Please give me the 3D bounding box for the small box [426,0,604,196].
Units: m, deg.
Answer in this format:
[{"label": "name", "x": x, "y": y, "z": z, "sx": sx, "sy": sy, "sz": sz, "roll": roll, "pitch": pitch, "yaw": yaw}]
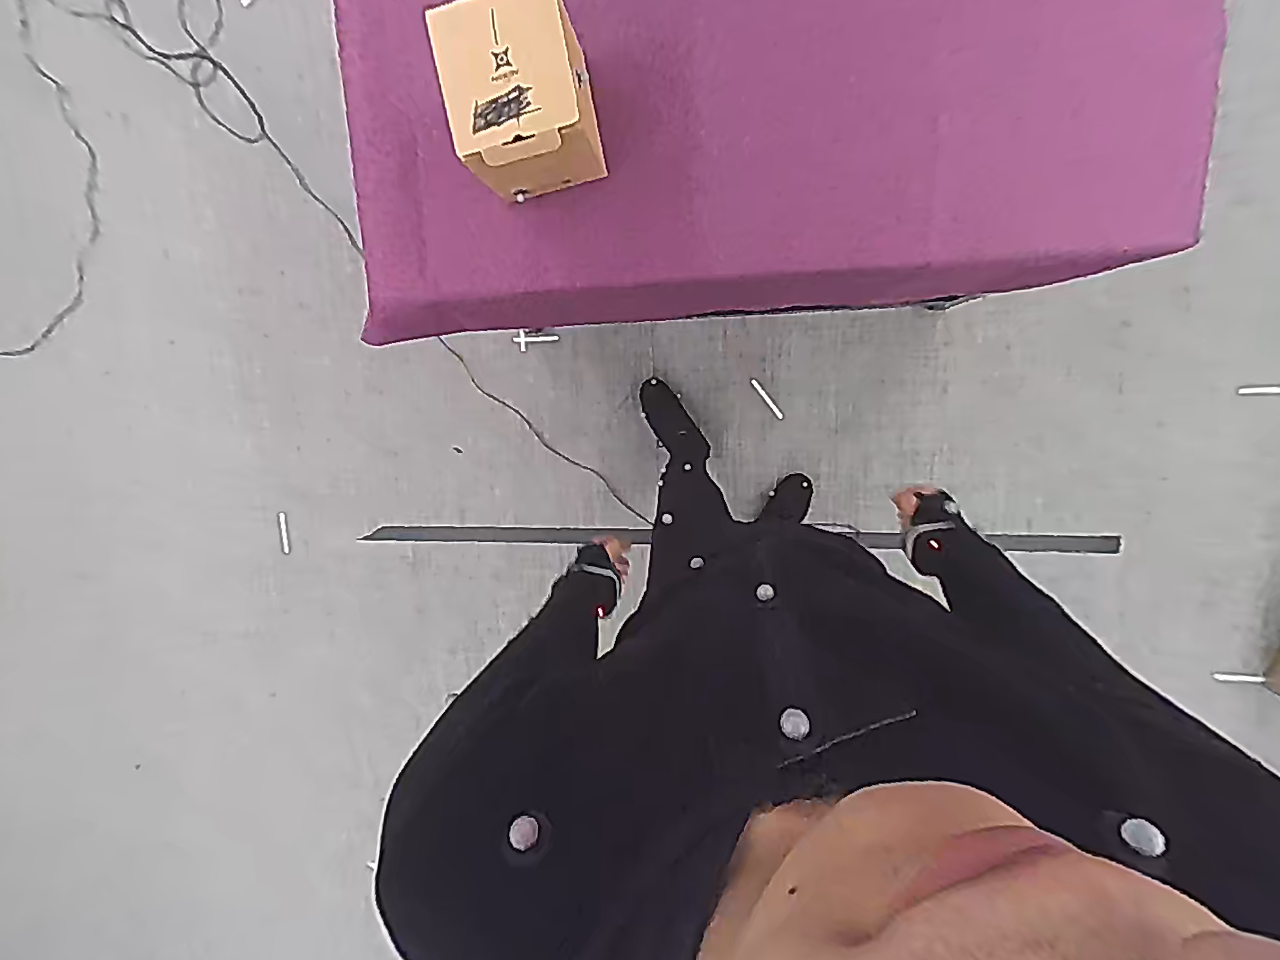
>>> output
[{"label": "small box", "x": -0.154, "y": -0.509, "z": 0.730, "sx": 0.168, "sy": 0.176, "sz": 0.179, "roll": -11, "pitch": 97, "yaw": 9}]
